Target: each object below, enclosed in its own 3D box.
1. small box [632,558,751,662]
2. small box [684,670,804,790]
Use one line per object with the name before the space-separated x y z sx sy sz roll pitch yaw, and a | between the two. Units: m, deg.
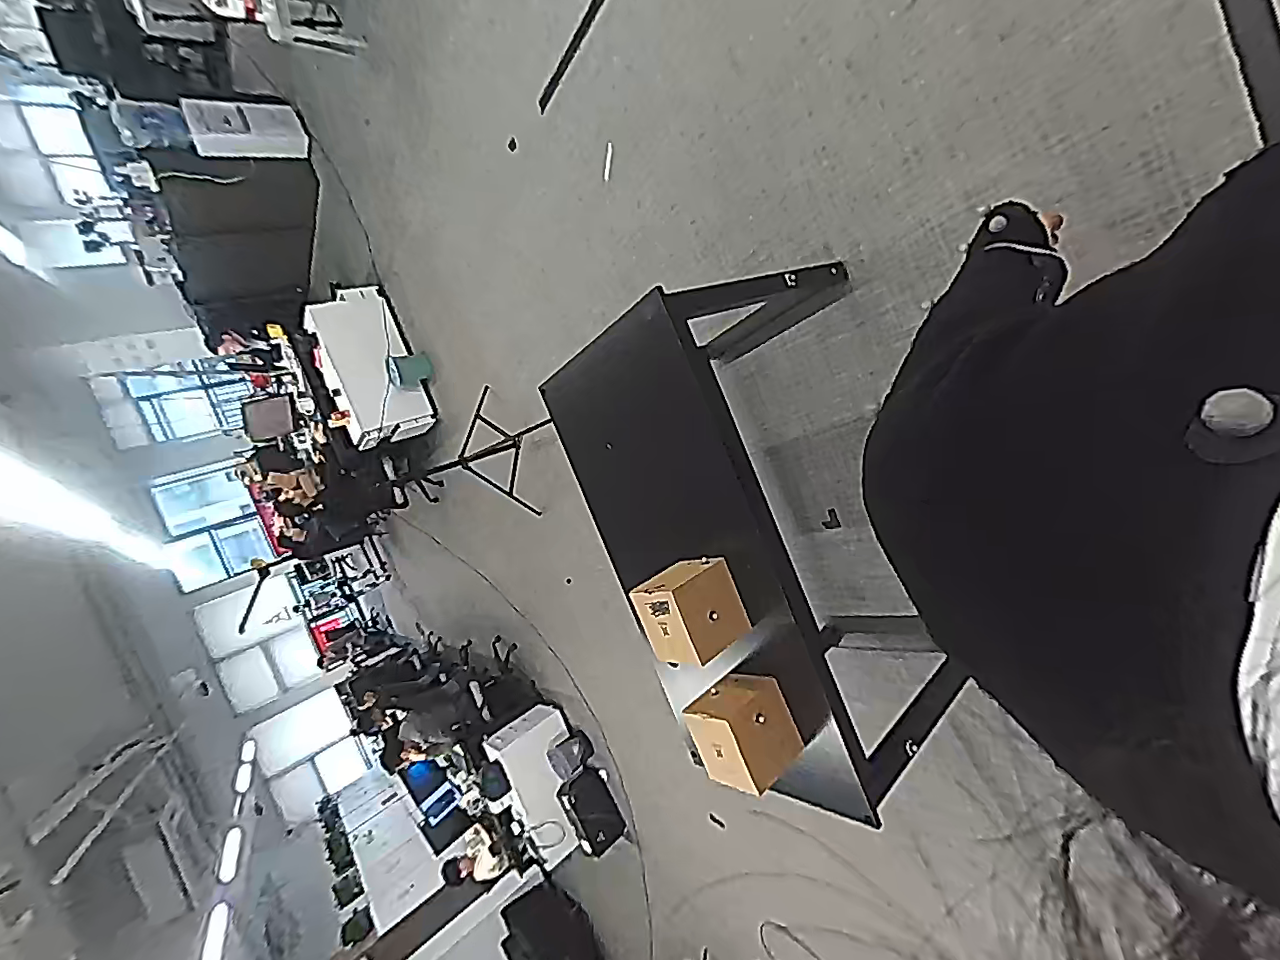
small box | 0.118 0.284 1.226 0.168 0.176 0.179 -18 96 55
small box | 0.237 0.554 1.229 0.168 0.176 0.179 -24 90 56
